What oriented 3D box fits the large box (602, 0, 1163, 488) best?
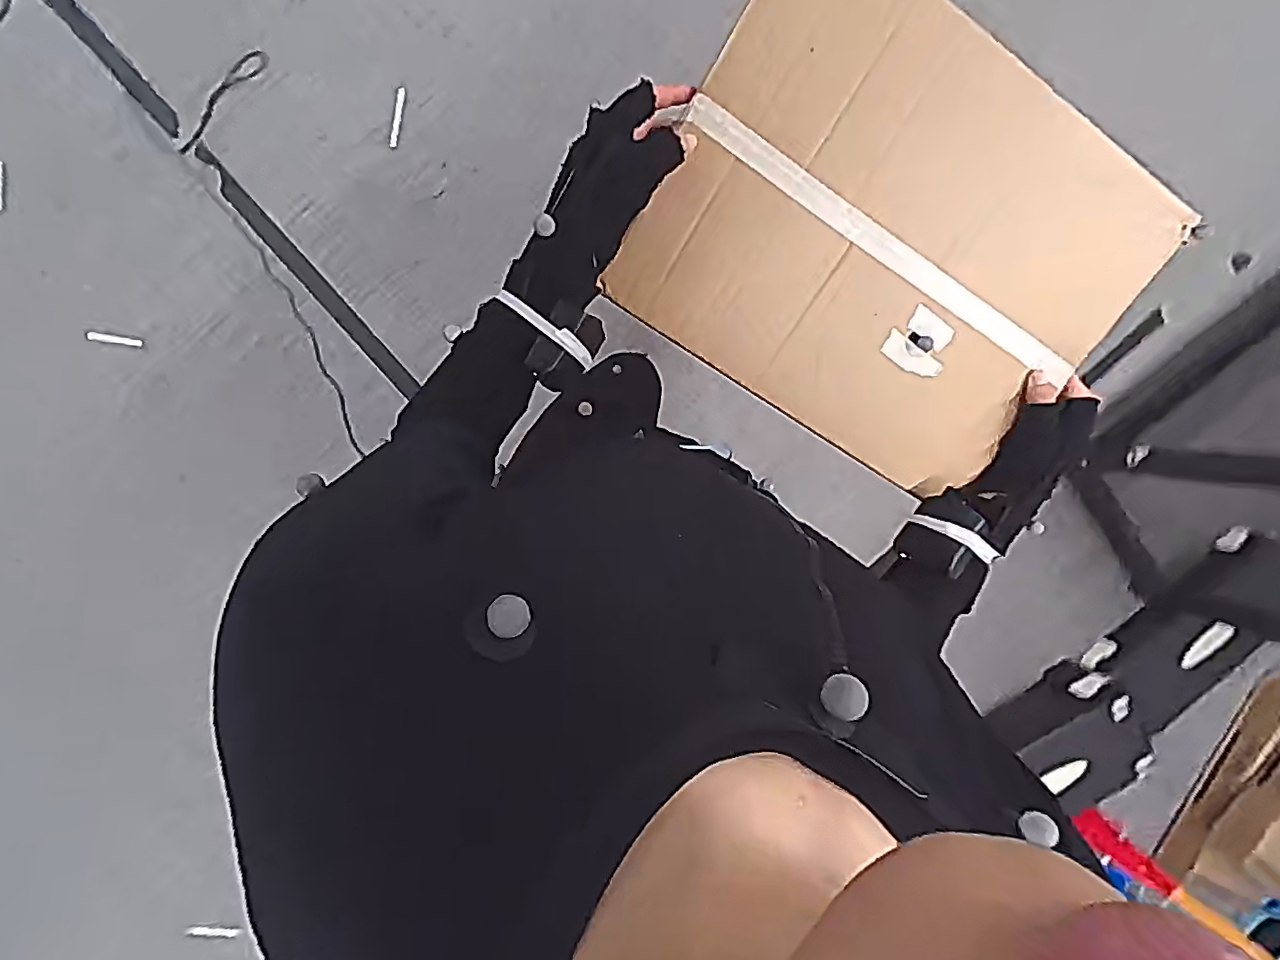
[{"bbox_3d":[0.204,-0.254,0.613,0.408,0.320,0.320,30,107,-11],"label":"large box"}]
